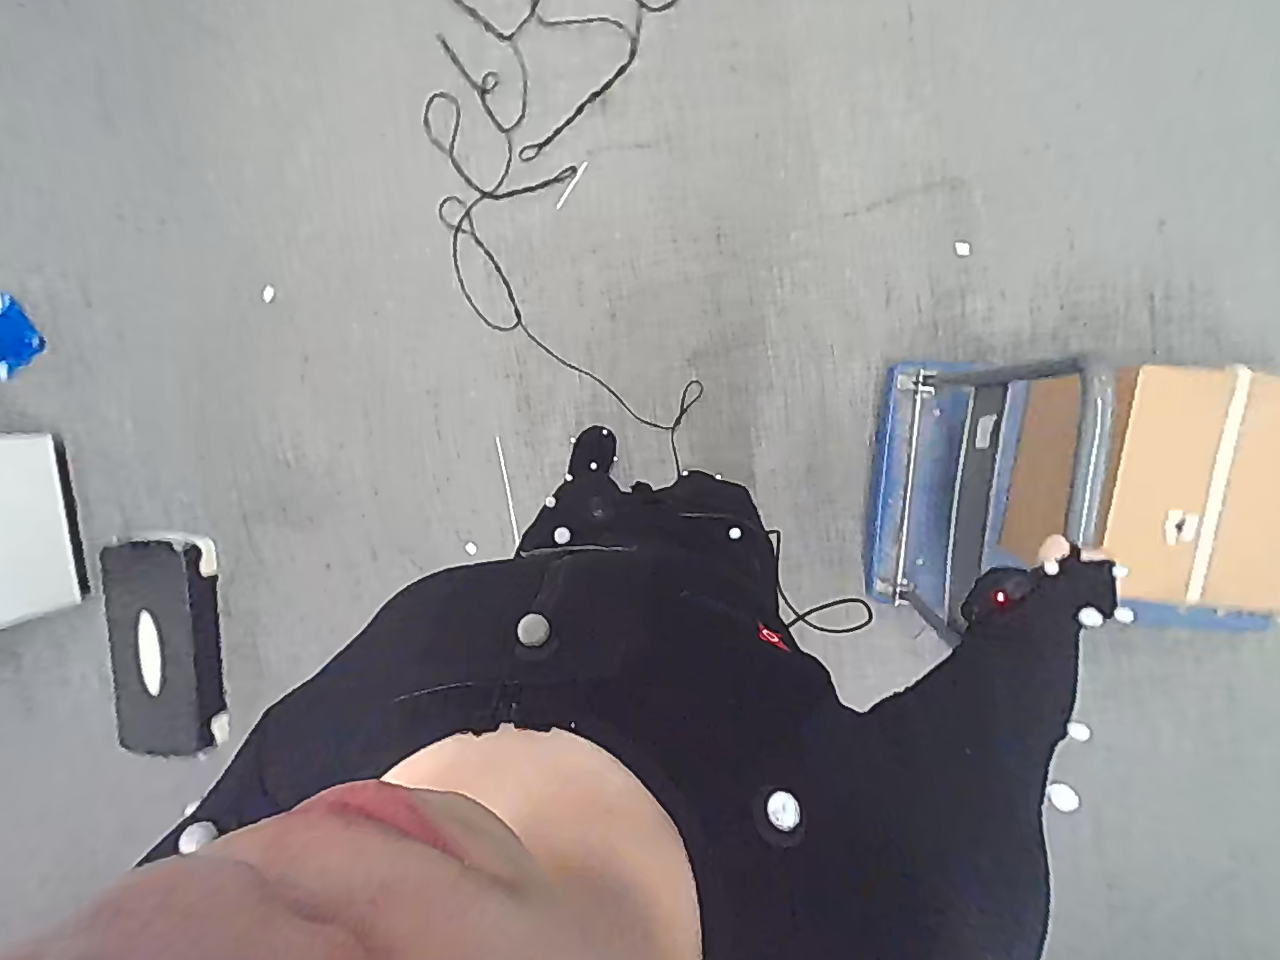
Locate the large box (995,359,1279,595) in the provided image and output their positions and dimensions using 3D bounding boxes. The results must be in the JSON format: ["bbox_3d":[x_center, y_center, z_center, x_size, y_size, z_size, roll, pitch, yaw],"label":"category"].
[{"bbox_3d":[0.980,-0.024,1.088,0.320,0.320,0.408,5,98,6],"label":"large box"}]
